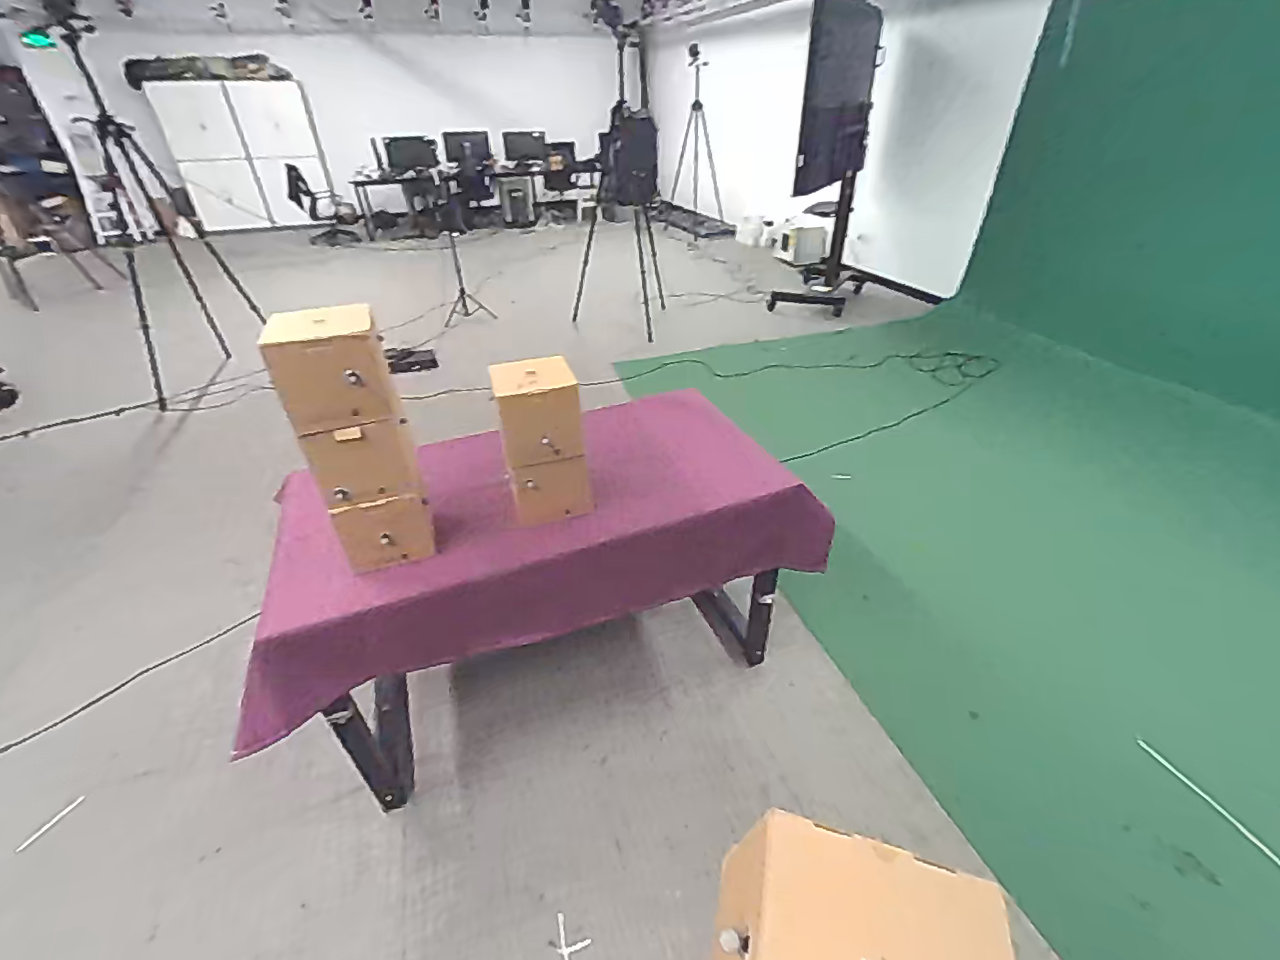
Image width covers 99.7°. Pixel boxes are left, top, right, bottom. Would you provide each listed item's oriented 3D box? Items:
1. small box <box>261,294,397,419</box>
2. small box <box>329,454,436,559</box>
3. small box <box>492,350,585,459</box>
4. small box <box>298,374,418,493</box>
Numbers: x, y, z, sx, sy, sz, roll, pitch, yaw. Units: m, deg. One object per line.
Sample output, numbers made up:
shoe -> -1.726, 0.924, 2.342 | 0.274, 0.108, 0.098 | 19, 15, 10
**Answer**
small box -> -0.546, -0.219, 0.975 | 0.168, 0.176, 0.179 | -12, 36, -17
small box -> -0.544, 0.051, 1.161 | 0.168, 0.176, 0.179 | -12, 38, -16
small box -> -0.221, -0.166, 1.175 | 0.168, 0.176, 0.179 | -11, 37, -14
small box -> -0.546, -0.088, 1.072 | 0.168, 0.176, 0.179 | -12, 36, -15
